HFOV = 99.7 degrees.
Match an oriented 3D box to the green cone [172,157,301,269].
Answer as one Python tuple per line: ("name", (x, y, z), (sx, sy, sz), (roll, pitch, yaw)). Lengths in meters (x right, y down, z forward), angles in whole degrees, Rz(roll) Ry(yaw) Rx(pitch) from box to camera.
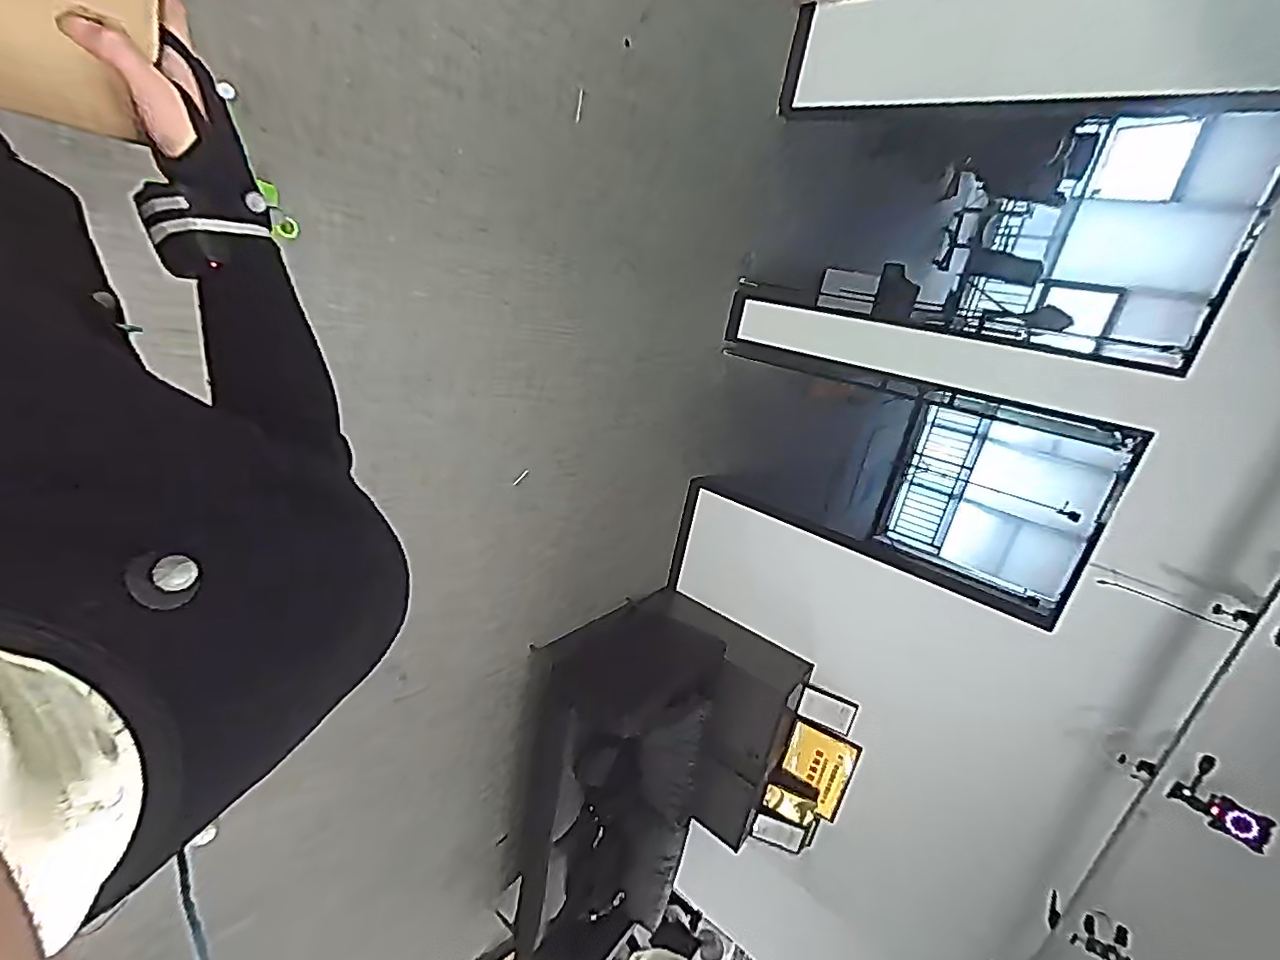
("green cone", (-0.840, -0.566, 1.183), (0.200, 0.368, 0.202), (-5, 113, -55))
